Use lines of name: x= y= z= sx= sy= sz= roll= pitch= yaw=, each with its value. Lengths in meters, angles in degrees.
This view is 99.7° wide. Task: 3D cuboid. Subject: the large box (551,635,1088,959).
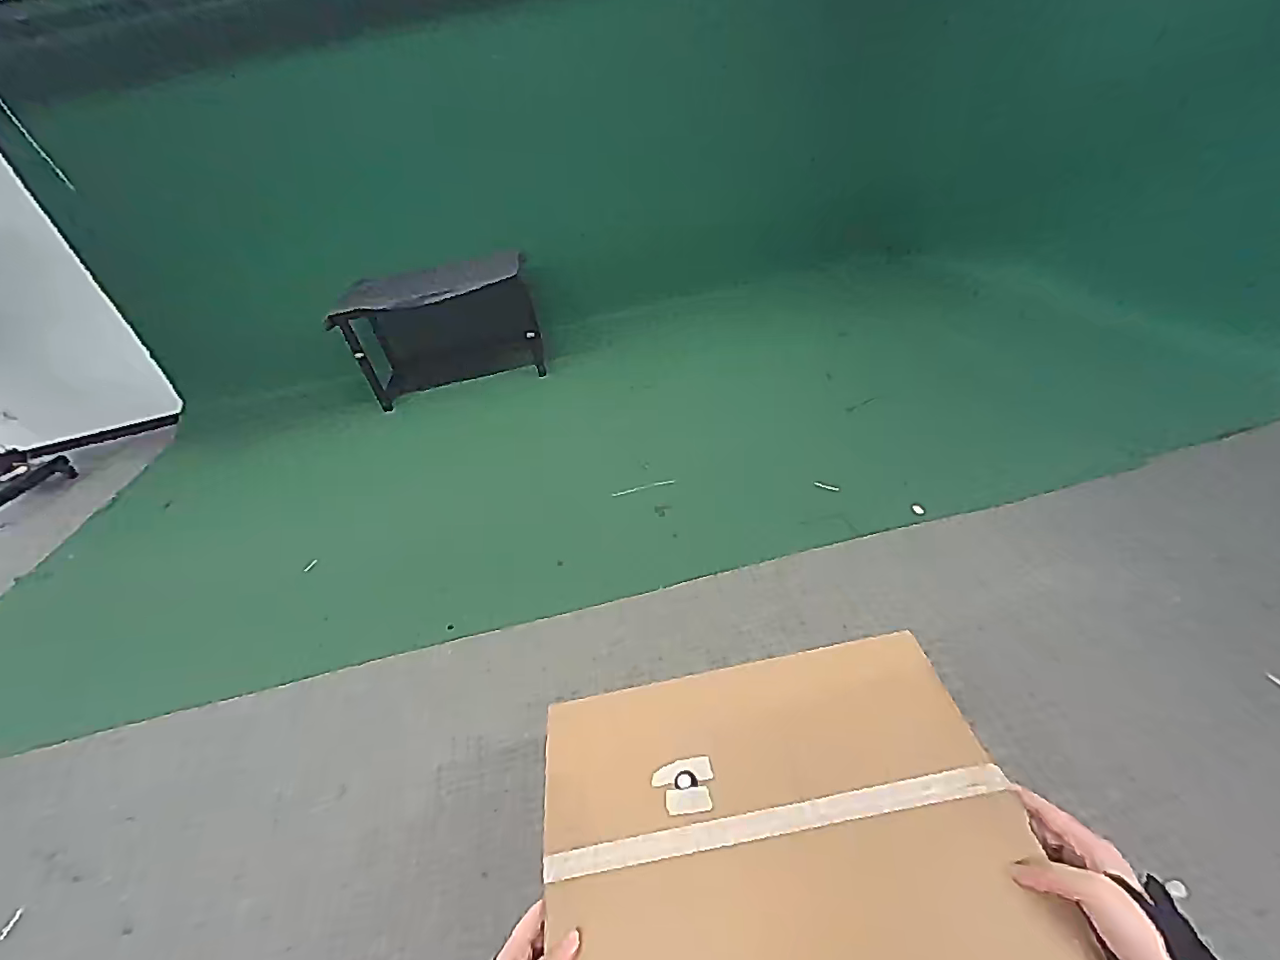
large box: x=0.145 y=0.422 z=0.579 sx=0.408 sy=0.320 sz=0.320 roll=-14 pitch=38 yaw=3
